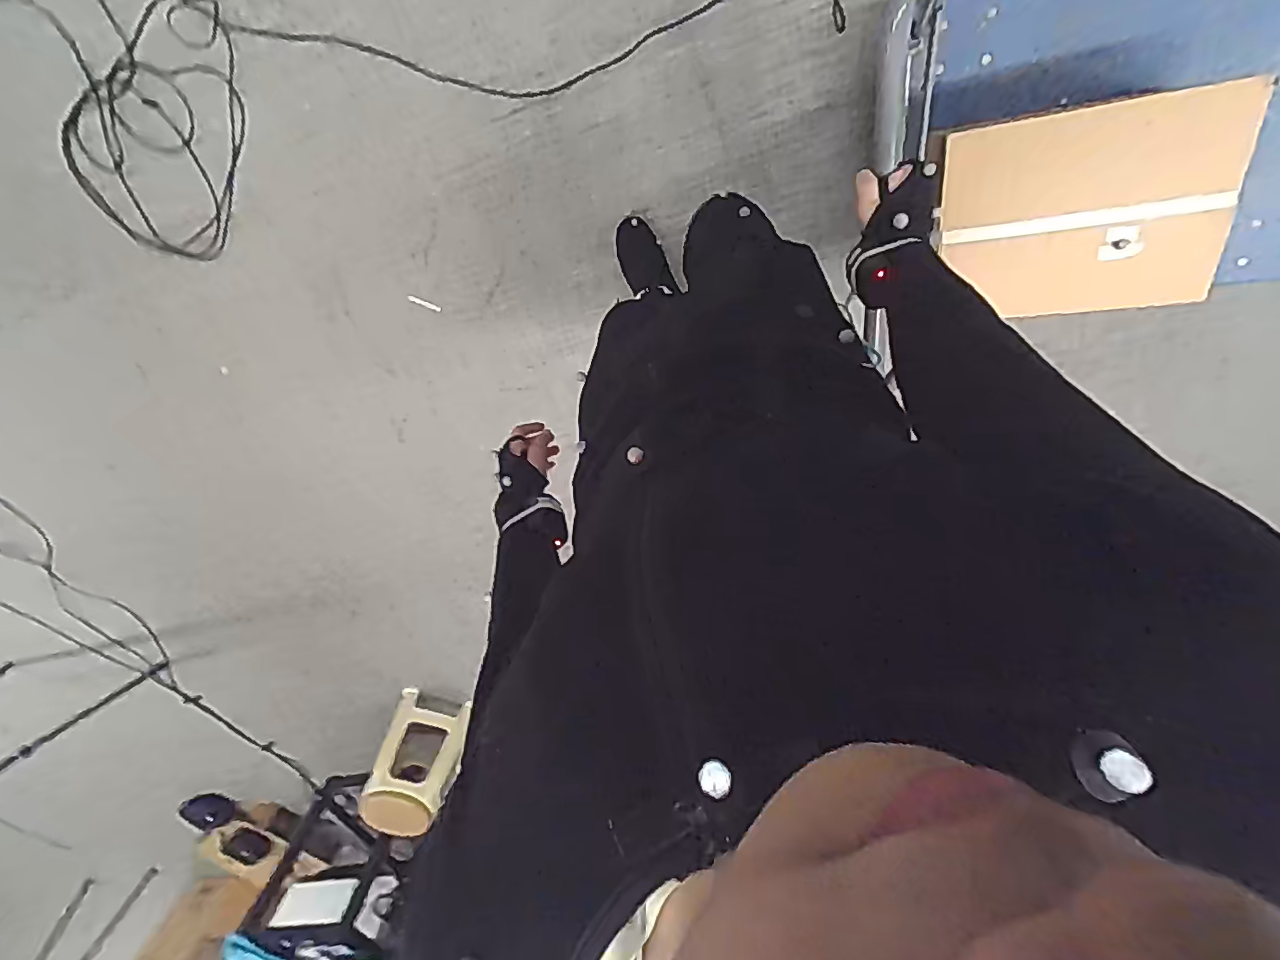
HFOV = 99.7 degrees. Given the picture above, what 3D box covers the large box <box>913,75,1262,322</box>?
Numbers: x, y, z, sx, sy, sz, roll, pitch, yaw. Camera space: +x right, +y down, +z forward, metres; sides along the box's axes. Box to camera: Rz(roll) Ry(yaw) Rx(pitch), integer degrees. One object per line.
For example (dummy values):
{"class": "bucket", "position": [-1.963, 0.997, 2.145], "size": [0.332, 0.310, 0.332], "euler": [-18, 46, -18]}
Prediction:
{"class": "large box", "position": [0.757, -0.510, 1.017], "size": [0.408, 0.320, 0.320], "euler": [0, 121, 19]}
